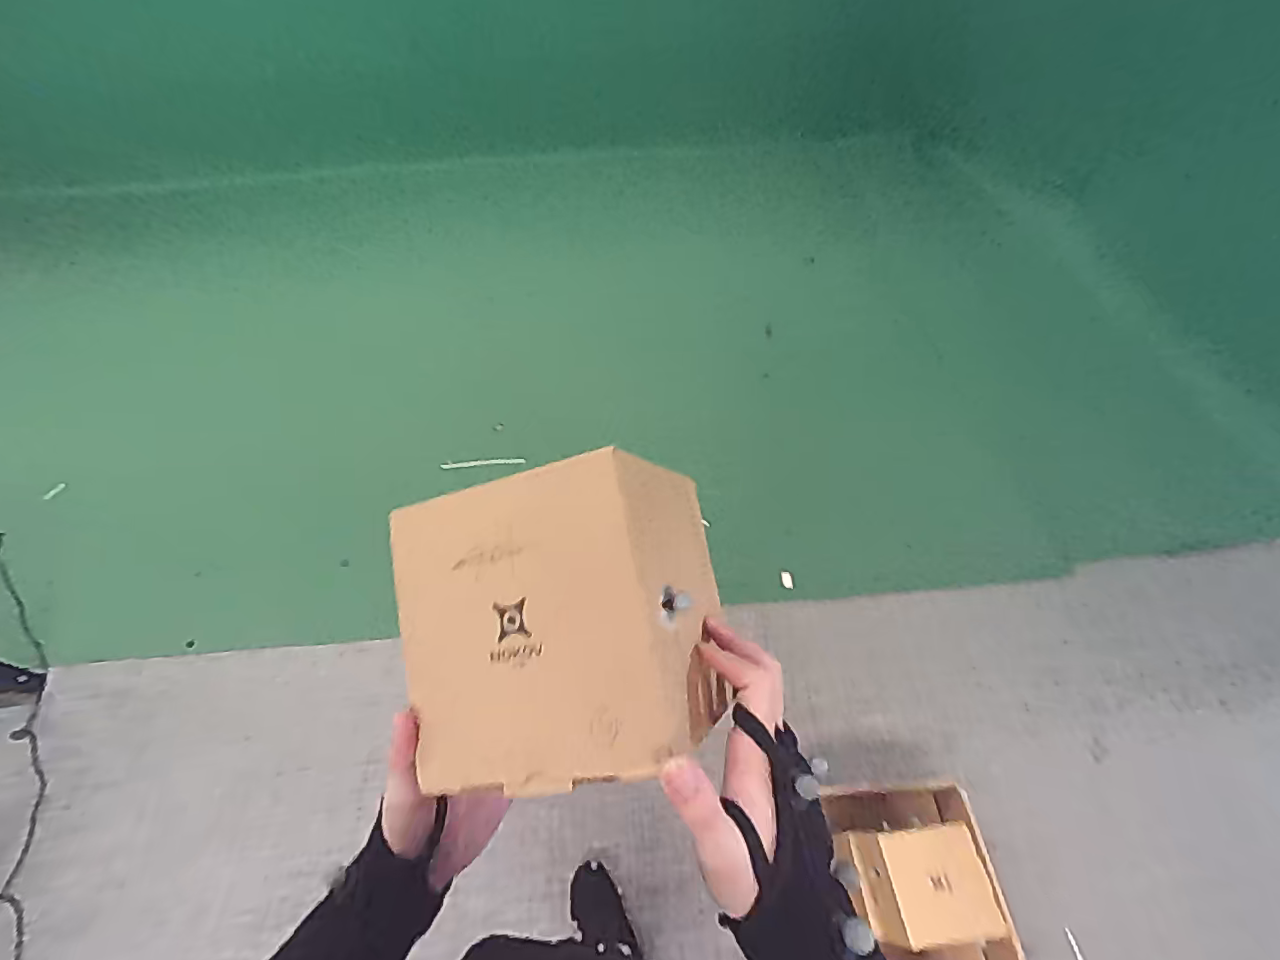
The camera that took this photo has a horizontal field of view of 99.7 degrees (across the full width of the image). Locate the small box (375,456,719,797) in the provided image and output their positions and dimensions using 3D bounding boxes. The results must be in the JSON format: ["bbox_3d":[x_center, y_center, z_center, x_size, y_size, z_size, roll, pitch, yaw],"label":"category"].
[{"bbox_3d":[-0.053,0.095,0.387,0.168,0.176,0.179,-16,79,19],"label":"small box"}]

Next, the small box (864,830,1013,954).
[{"bbox_3d":[0.548,0.779,1.029,0.179,0.176,0.168,-6,55,-2],"label":"small box"}]
